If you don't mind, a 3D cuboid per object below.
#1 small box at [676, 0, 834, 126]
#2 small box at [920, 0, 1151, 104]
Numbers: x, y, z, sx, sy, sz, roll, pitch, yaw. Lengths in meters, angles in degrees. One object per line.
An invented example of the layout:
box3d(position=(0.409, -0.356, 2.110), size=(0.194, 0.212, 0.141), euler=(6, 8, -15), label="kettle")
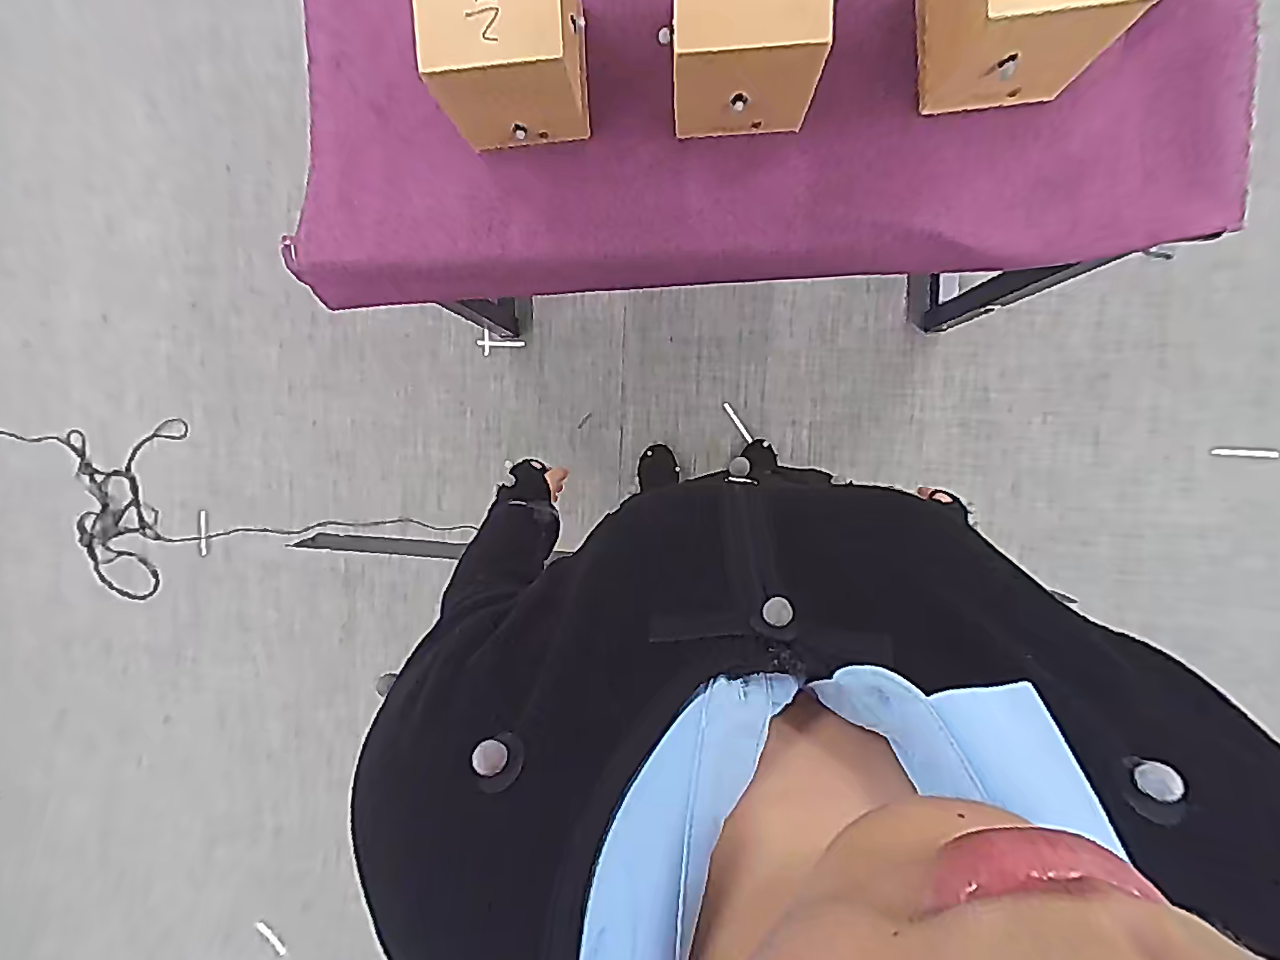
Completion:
box3d(position=(0.127, -0.548, 0.639), size=(0.168, 0.176, 0.179), euler=(0, 94, 4), label="small box")
box3d(position=(0.435, -0.561, 0.612), size=(0.168, 0.176, 0.179), euler=(-3, 93, 6), label="small box")
